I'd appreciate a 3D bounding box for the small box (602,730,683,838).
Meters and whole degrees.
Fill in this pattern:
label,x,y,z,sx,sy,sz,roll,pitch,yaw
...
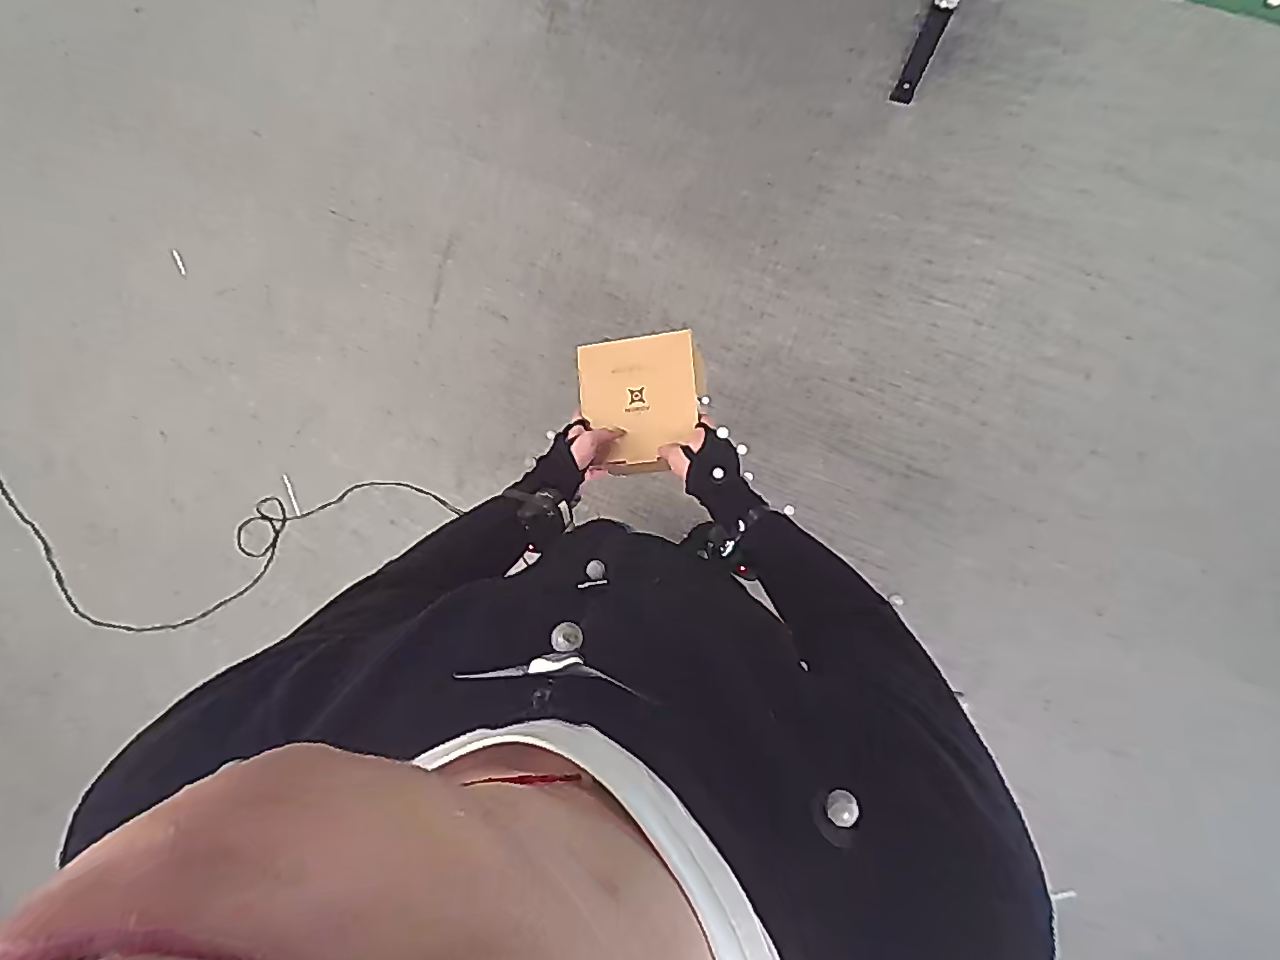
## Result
label,x,y,z,sx,sy,sz,roll,pitch,yaw
small box,0.010,0.827,1.492,0.168,0.176,0.179,22,92,4

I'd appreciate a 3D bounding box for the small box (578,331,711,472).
label,x,y,z,sx,sy,sz,roll,pitch,yaw
small box,0.015,-0.107,0.827,0.168,0.176,0.179,-7,85,10
